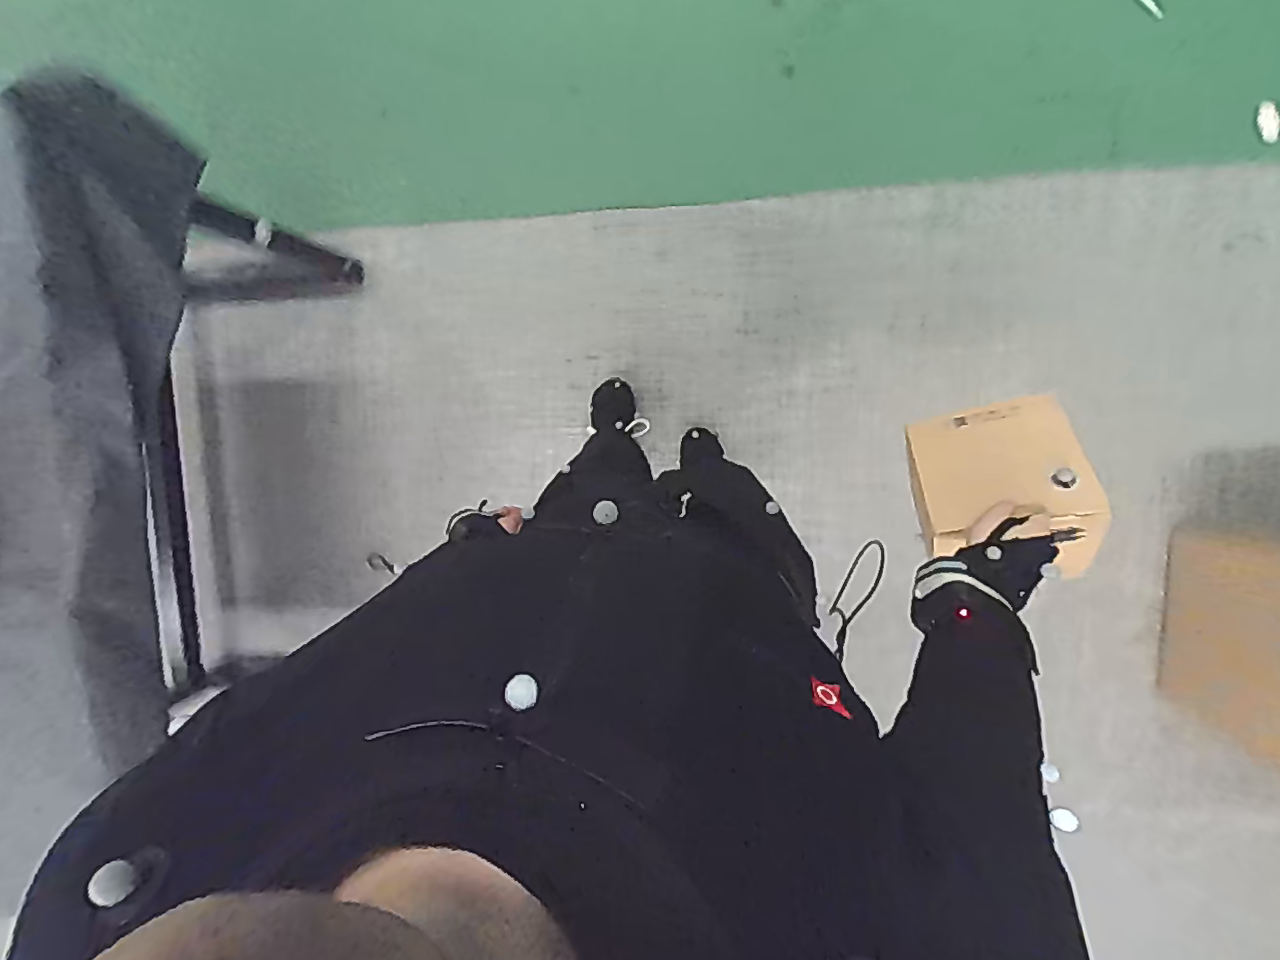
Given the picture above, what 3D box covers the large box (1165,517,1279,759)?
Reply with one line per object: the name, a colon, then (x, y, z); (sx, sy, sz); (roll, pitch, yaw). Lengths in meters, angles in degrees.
large box: (1.318, 0.295, 1.050); (0.320, 0.320, 0.408); (-2, 97, 10)
